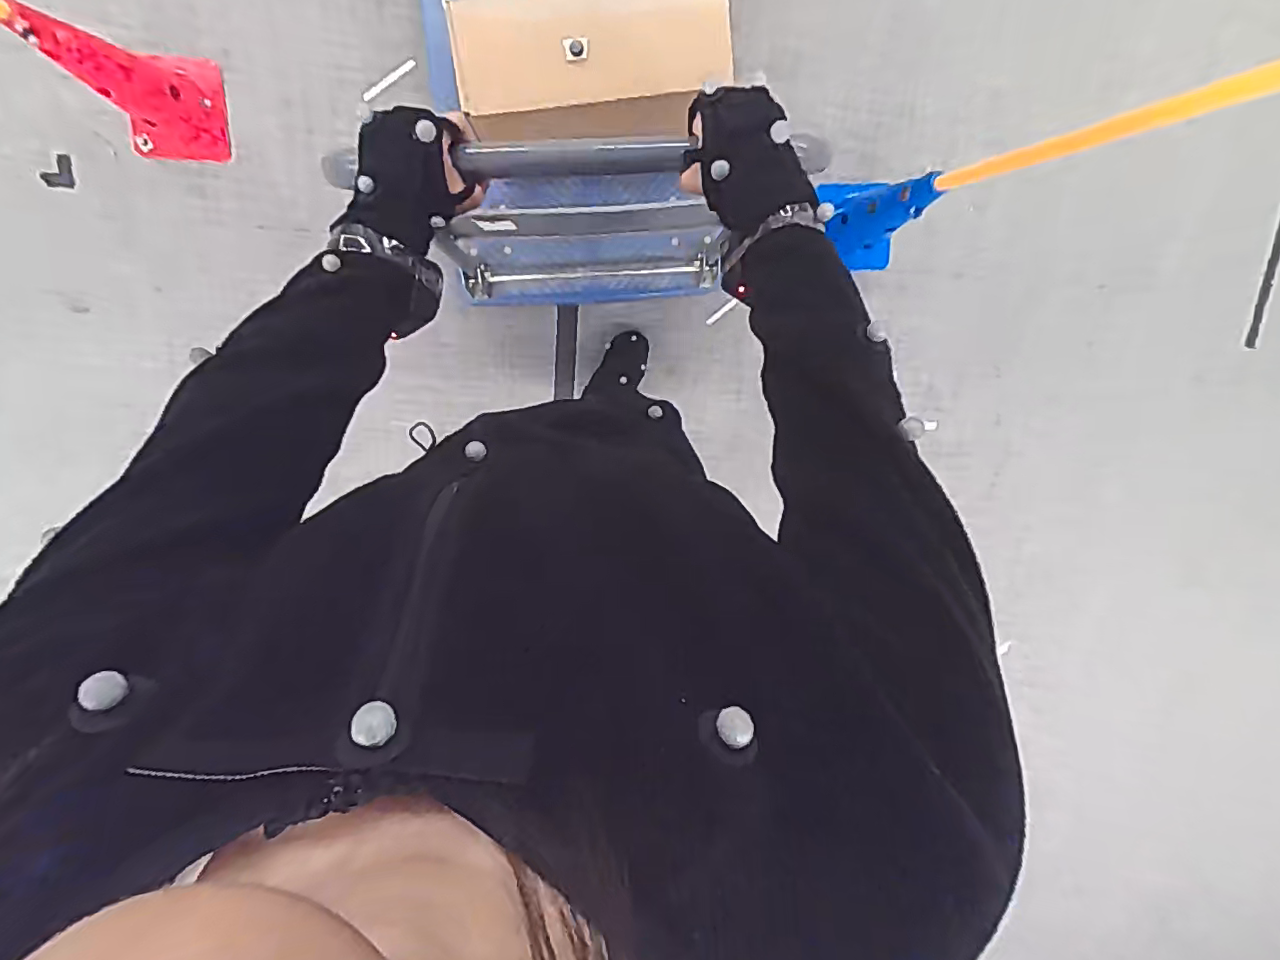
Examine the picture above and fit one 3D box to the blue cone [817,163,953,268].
[{"bbox_3d":[0.539,-0.587,1.165,0.193,0.380,0.192,-1,102,-4],"label":"blue cone"}]
